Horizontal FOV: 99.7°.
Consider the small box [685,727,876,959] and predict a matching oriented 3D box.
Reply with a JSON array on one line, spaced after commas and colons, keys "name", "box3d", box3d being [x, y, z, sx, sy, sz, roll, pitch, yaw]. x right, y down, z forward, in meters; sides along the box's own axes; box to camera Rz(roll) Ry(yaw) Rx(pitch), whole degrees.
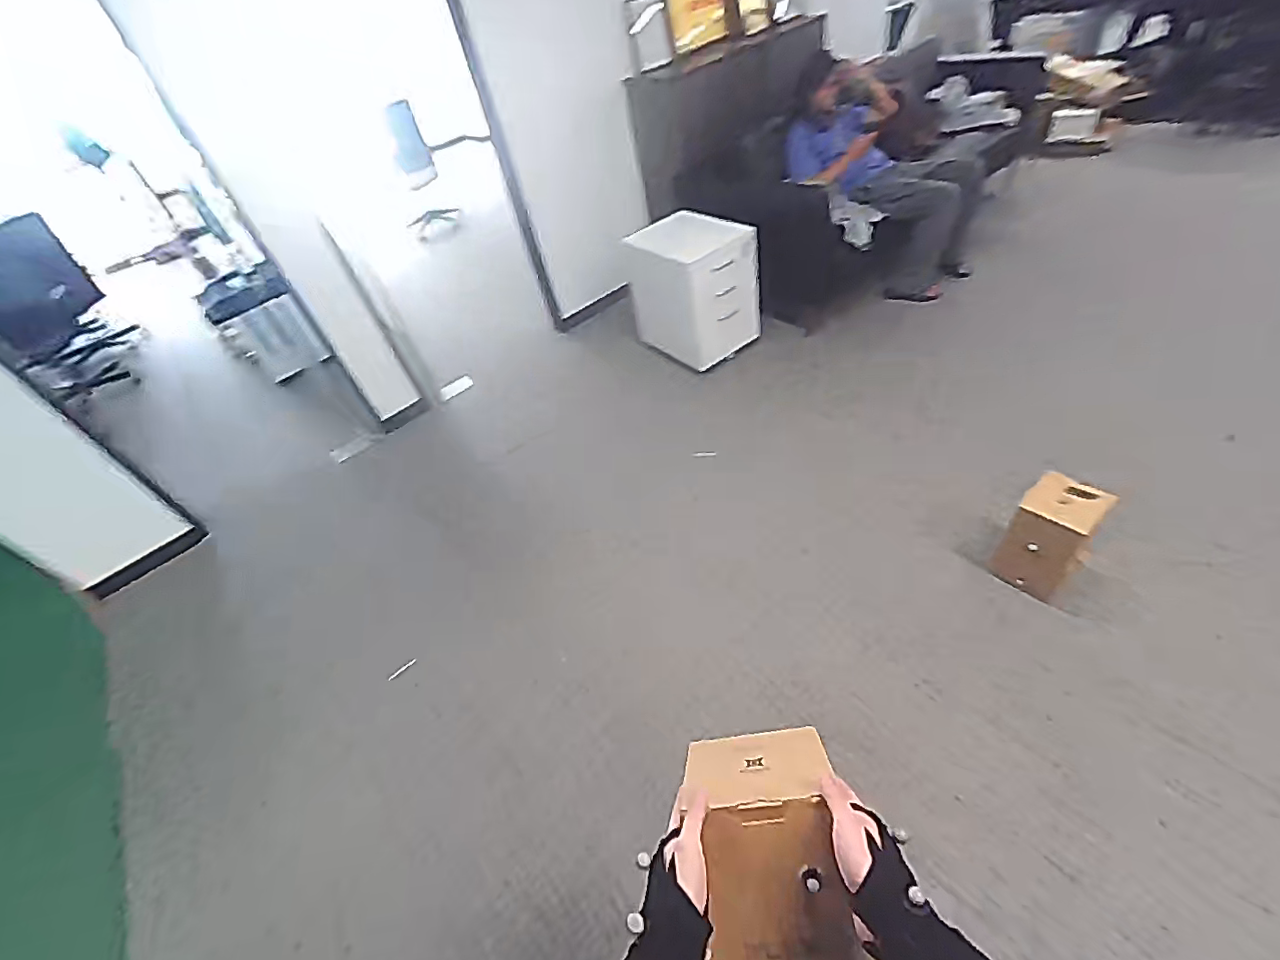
[{"name": "small box", "box3d": [0.151, 0.408, 0.615, 0.168, 0.179, 0.176, -10, 84, 7]}]

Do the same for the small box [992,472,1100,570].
[{"name": "small box", "box3d": [1.130, 0.115, 1.520, 0.179, 0.176, 0.168, -33, 45, -20]}]

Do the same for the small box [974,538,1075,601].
[{"name": "small box", "box3d": [1.166, 0.243, 1.650, 0.168, 0.176, 0.179, -37, 48, -22]}]
